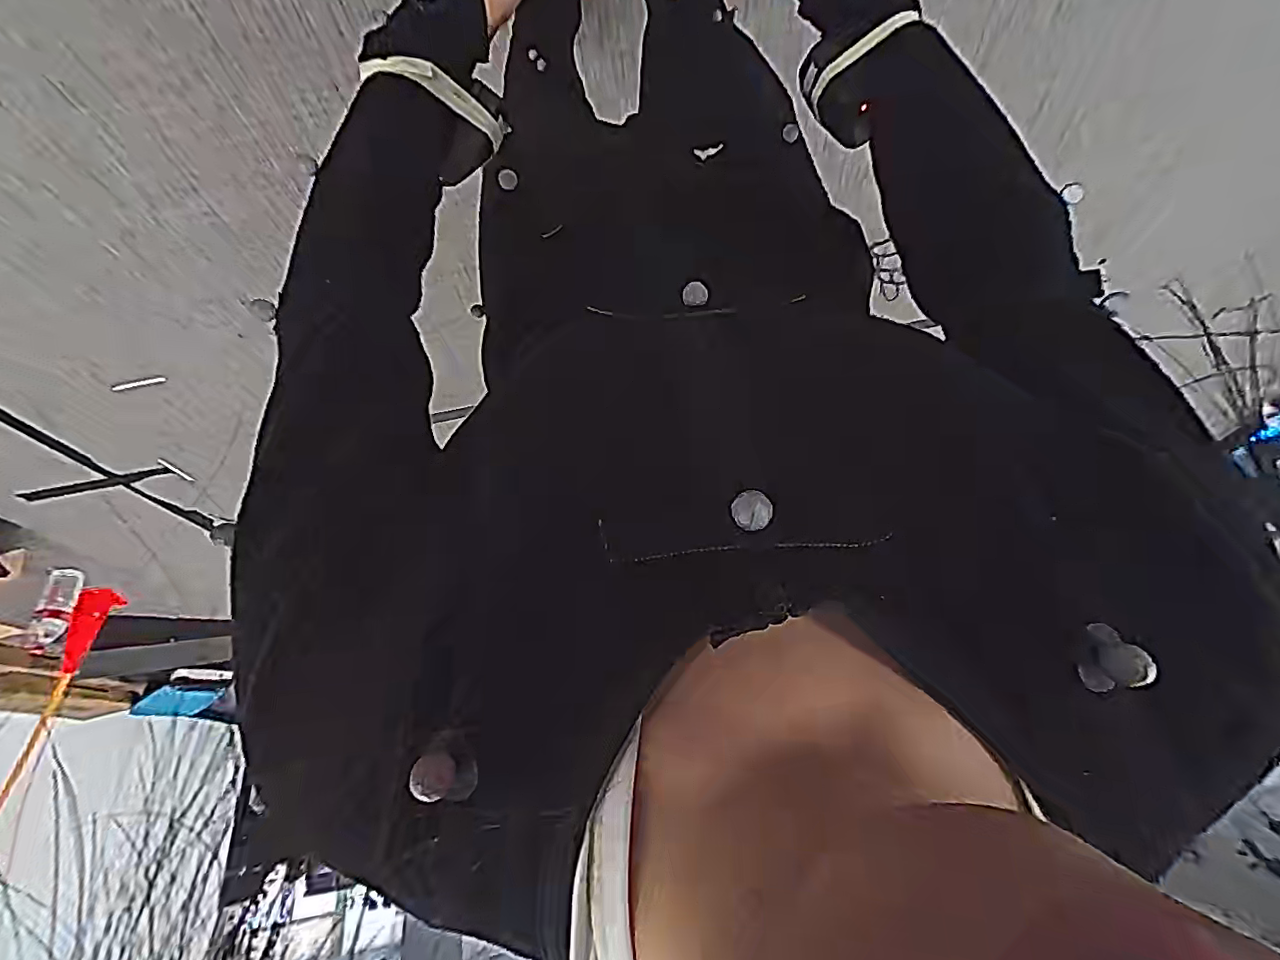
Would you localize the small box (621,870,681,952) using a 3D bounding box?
[{"bbox_3d":[0.038,1.391,1.756,0.168,0.176,0.179,-12,150,-2],"label":"small box"}]
